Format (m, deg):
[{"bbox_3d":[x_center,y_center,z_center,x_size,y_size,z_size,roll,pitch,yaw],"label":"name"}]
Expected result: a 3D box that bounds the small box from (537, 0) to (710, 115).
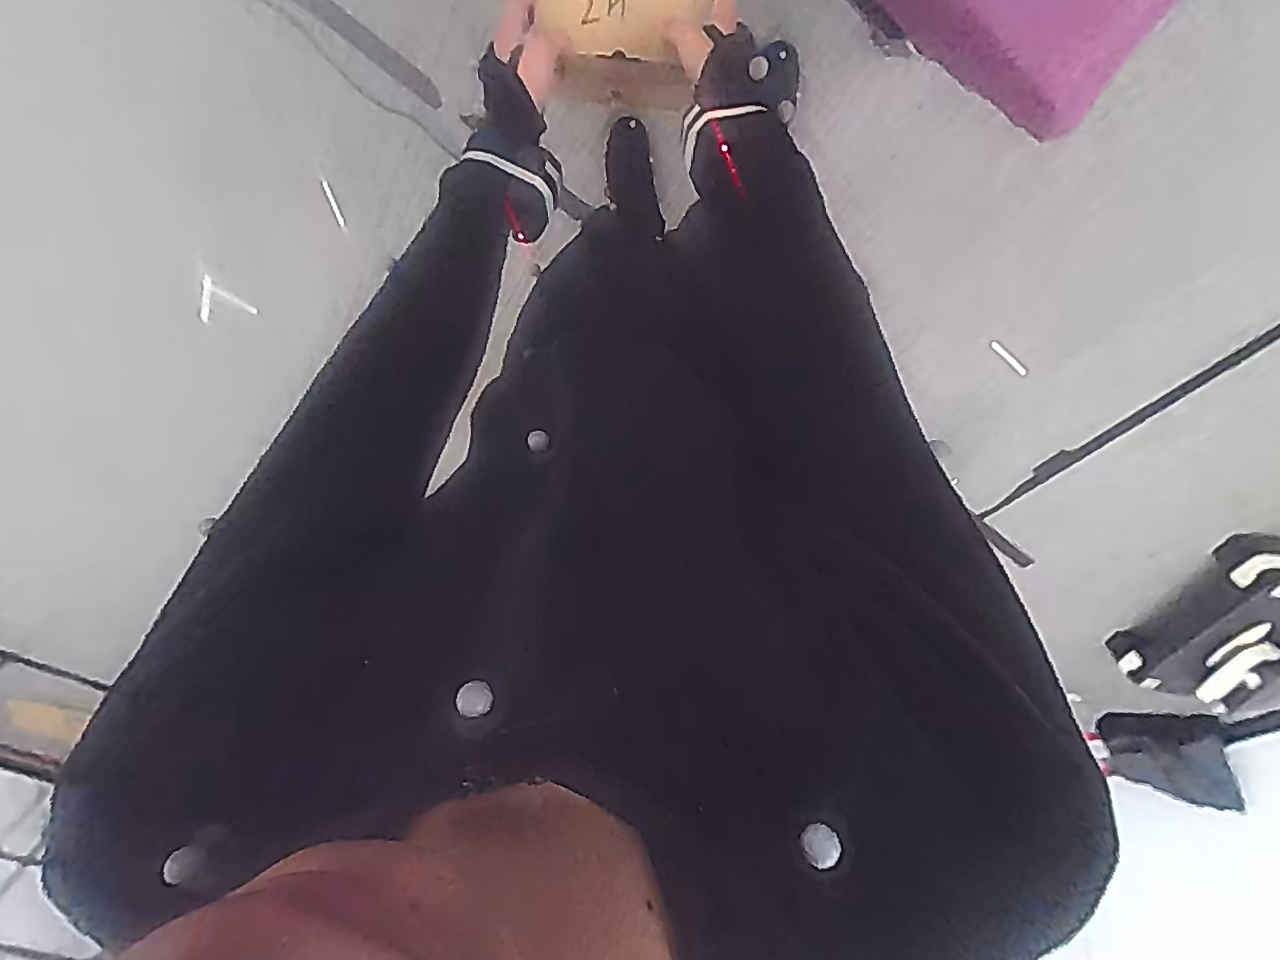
[{"bbox_3d":[-0.015,-0.518,0.574,0.168,0.176,0.179,4,113,-4],"label":"small box"}]
